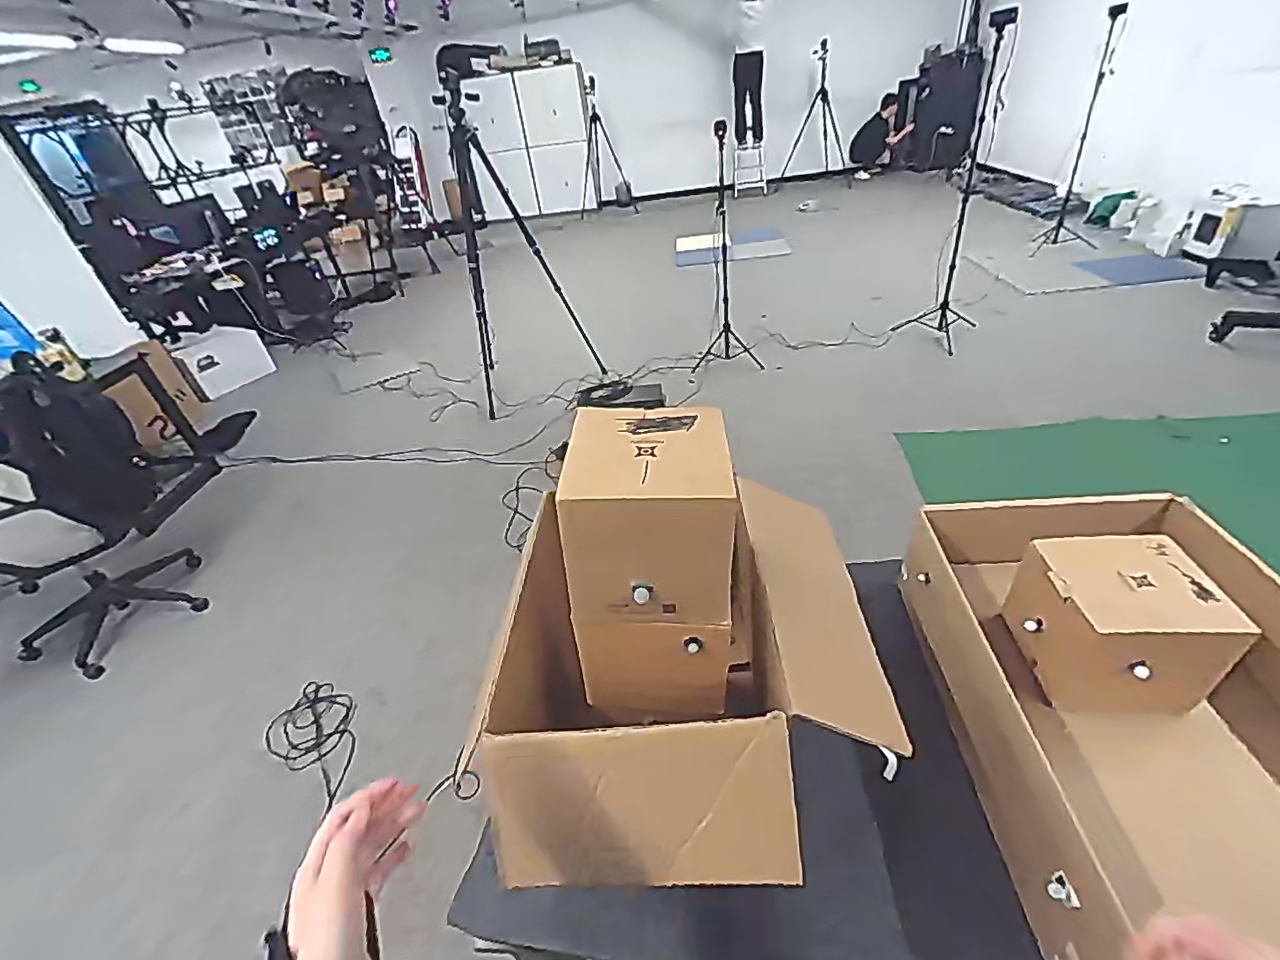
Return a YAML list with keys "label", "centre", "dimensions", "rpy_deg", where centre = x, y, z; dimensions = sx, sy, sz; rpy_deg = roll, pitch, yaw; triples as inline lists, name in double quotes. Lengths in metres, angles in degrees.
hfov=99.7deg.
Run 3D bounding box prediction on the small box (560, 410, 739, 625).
- label: "small box"
  centre: [0.014, 0.036, 0.598]
  dimensions: [0.168, 0.176, 0.179]
  rpy_deg: [-1, 36, 3]
